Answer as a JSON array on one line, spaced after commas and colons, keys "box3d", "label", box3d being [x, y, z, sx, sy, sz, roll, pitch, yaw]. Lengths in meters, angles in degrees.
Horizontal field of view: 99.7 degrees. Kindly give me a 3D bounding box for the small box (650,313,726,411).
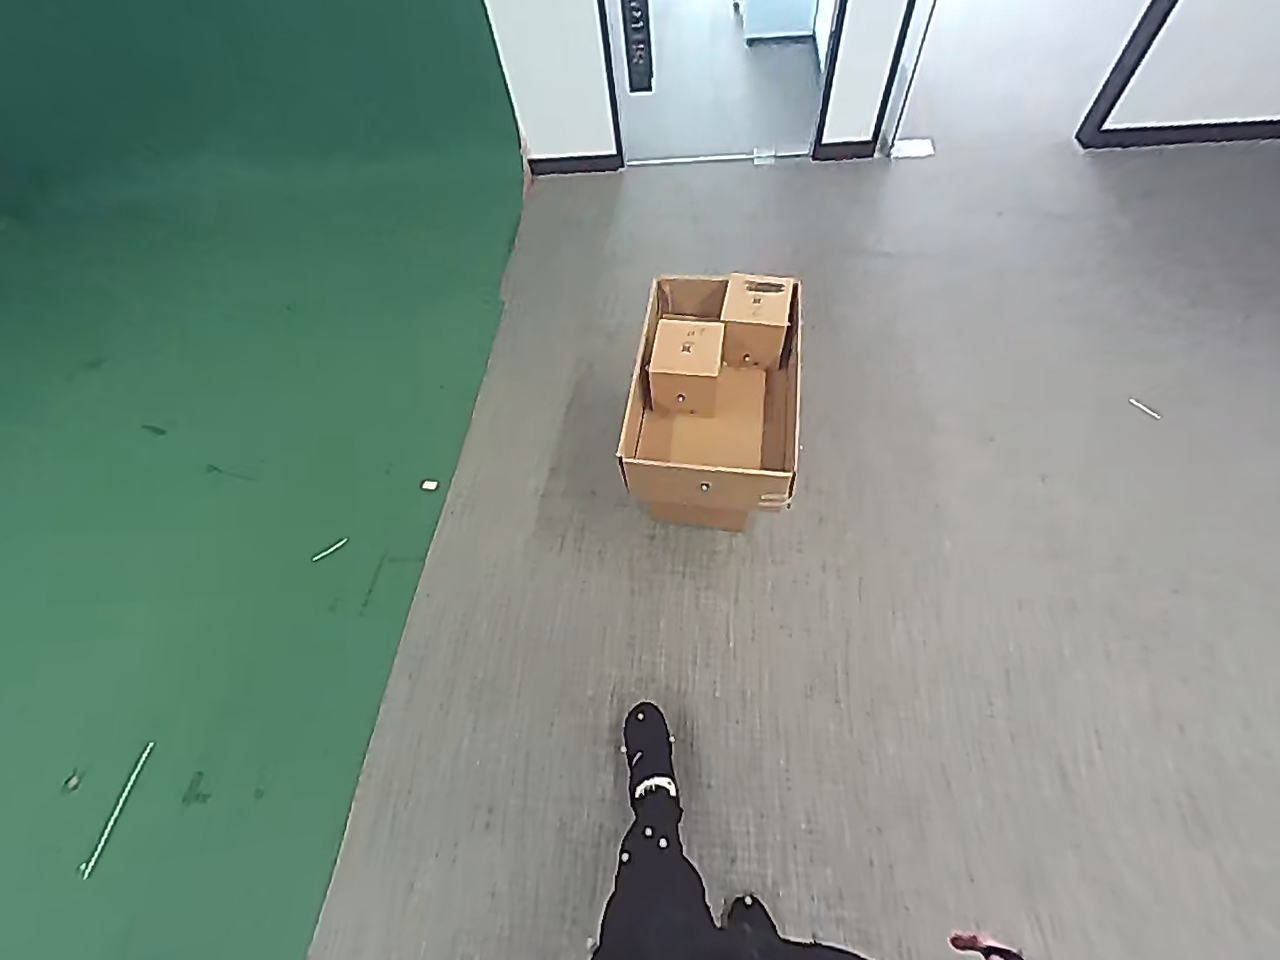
[{"box3d": [0.124, -0.294, 1.367, 0.168, 0.176, 0.179, 7, 62, 9], "label": "small box"}]
